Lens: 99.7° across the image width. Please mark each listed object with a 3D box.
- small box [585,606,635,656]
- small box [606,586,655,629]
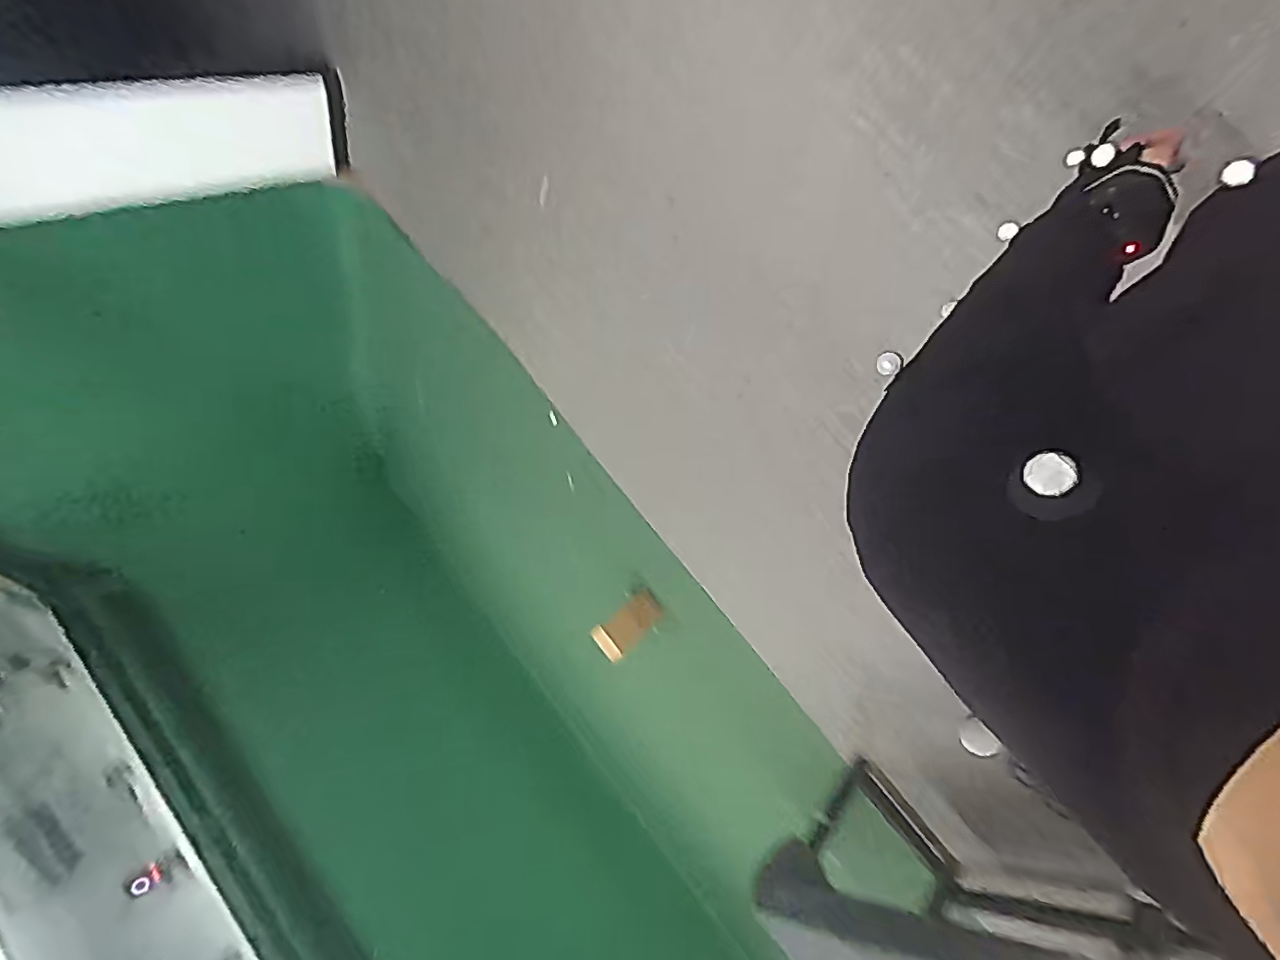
[{"bbox_3d":[-0.149,0.773,2.775,0.168,0.176,0.179,49,145,8],"label":"small box"},{"bbox_3d":[-0.047,0.691,2.873,0.168,0.176,0.179,49,144,7],"label":"small box"}]
